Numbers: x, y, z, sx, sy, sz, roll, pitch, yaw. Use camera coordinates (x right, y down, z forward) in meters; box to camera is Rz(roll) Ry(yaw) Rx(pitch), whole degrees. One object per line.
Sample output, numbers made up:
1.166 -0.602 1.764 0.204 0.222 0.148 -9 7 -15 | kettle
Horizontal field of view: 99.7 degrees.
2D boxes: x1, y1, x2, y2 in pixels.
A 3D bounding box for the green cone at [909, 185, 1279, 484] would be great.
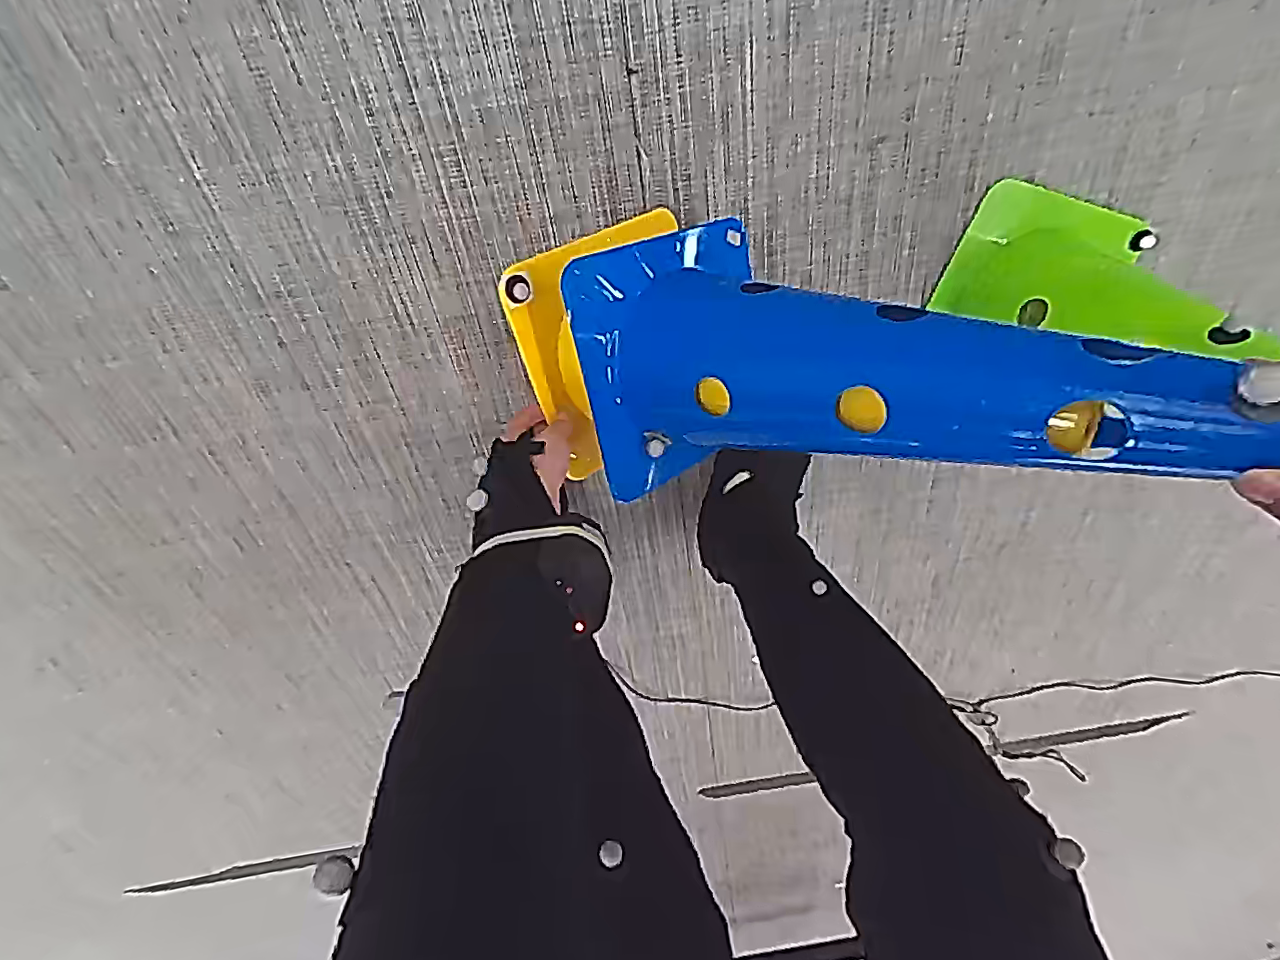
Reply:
0.425 -0.089 0.435 0.200 0.368 0.202 9 123 -12 | green cone
